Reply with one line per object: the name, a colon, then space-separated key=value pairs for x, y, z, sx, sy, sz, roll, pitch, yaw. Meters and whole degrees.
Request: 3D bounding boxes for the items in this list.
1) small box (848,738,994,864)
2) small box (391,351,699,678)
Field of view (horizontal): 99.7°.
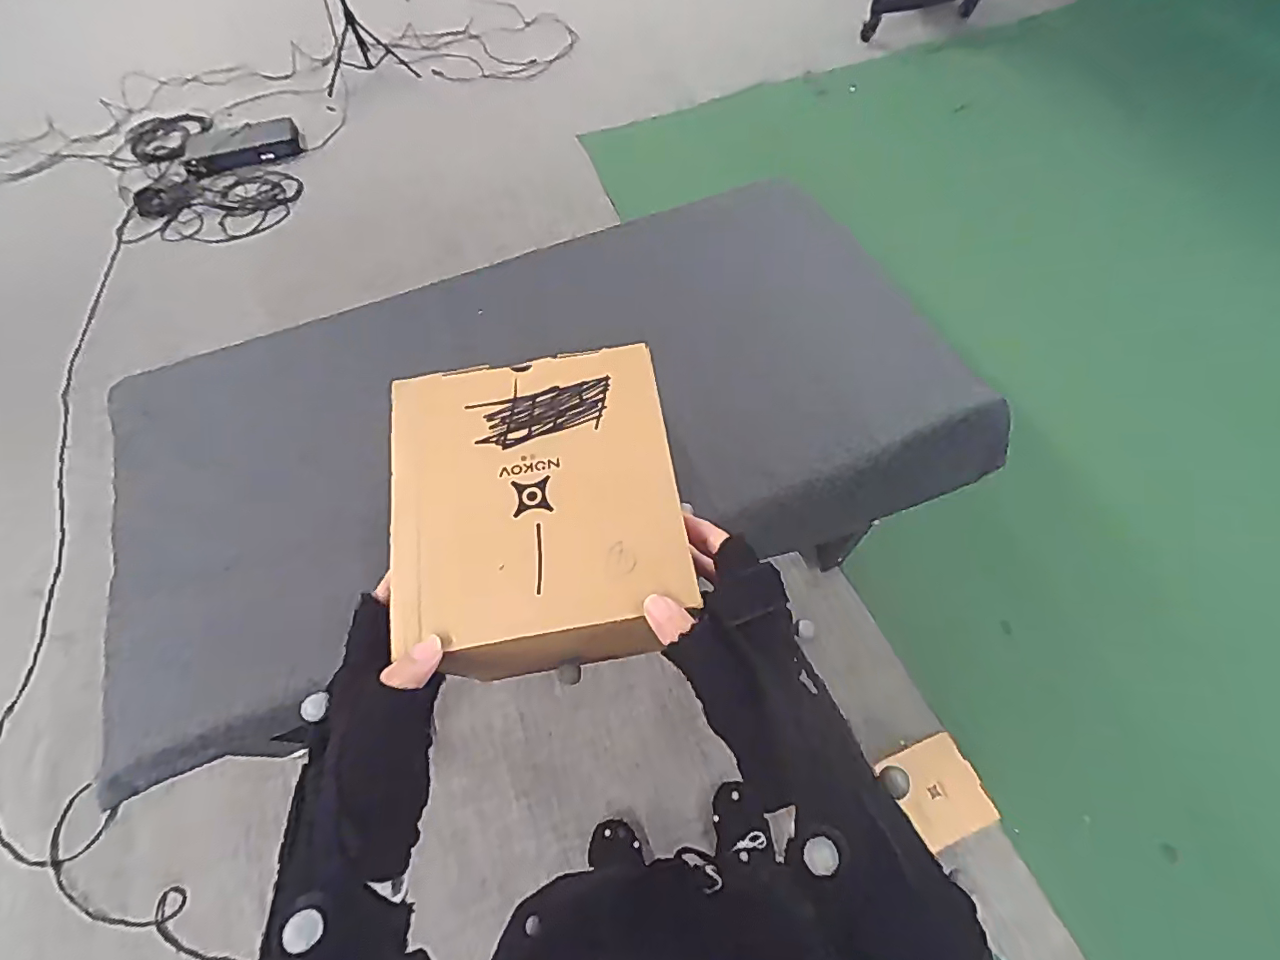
small box: x=0.562 y=0.650 z=1.109 sx=0.179 sy=0.176 sz=0.168 roll=-21 pitch=61 yaw=-8
small box: x=-0.059 y=0.036 z=0.391 sx=0.168 sy=0.176 sz=0.179 roll=-8 pitch=67 yaw=-2
